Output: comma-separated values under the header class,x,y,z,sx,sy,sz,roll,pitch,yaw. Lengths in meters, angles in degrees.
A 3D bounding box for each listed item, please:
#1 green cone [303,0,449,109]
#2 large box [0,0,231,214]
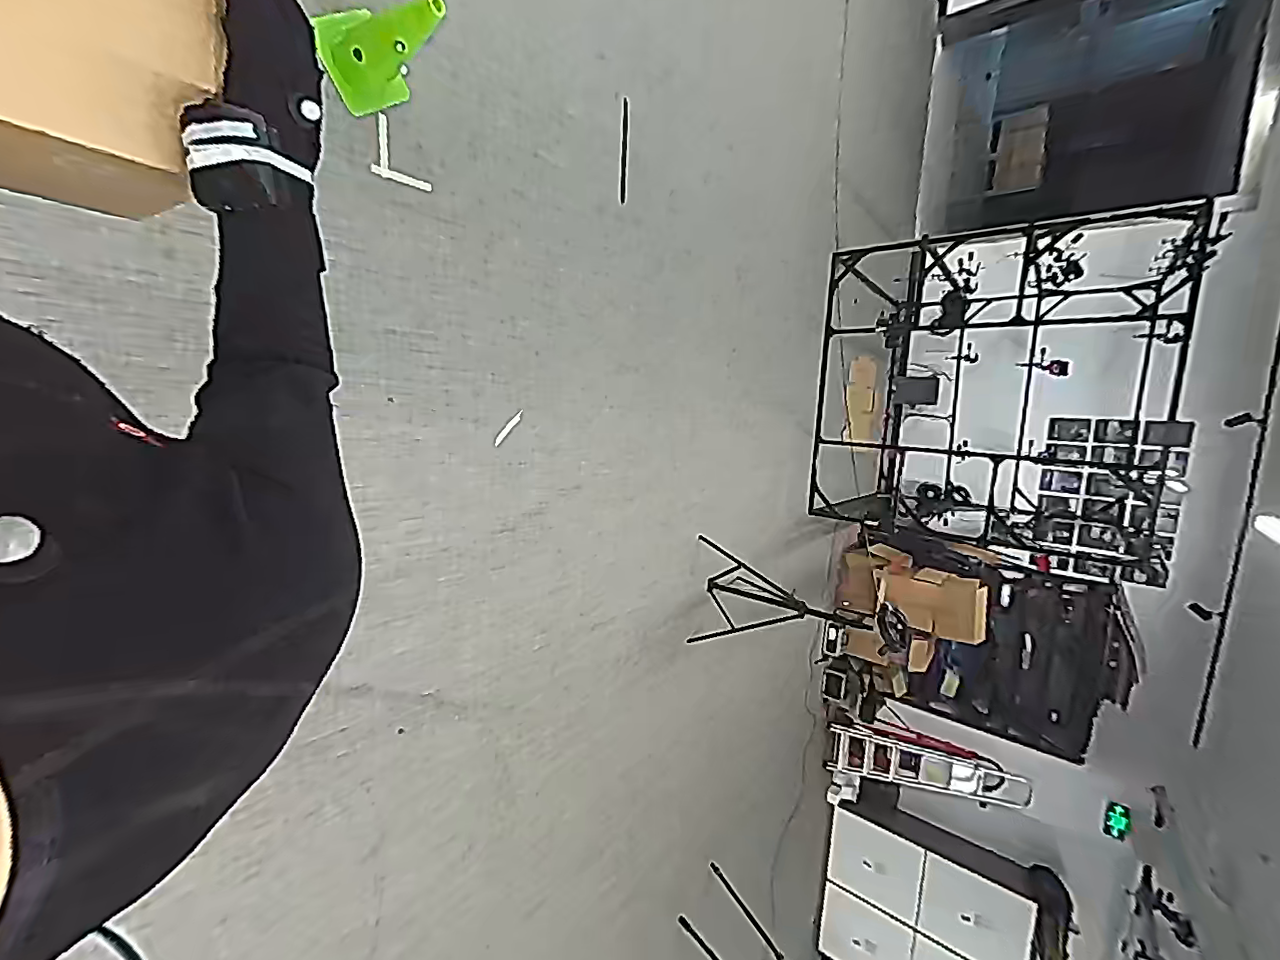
class,x,y,z,sx,sy,sz,roll,pitch,yaw
green cone,-0.575,-1.050,1.267,0.202,0.368,0.200,-53,136,-34
large box,-0.544,-0.400,0.333,0.408,0.320,0.320,-4,106,-52
